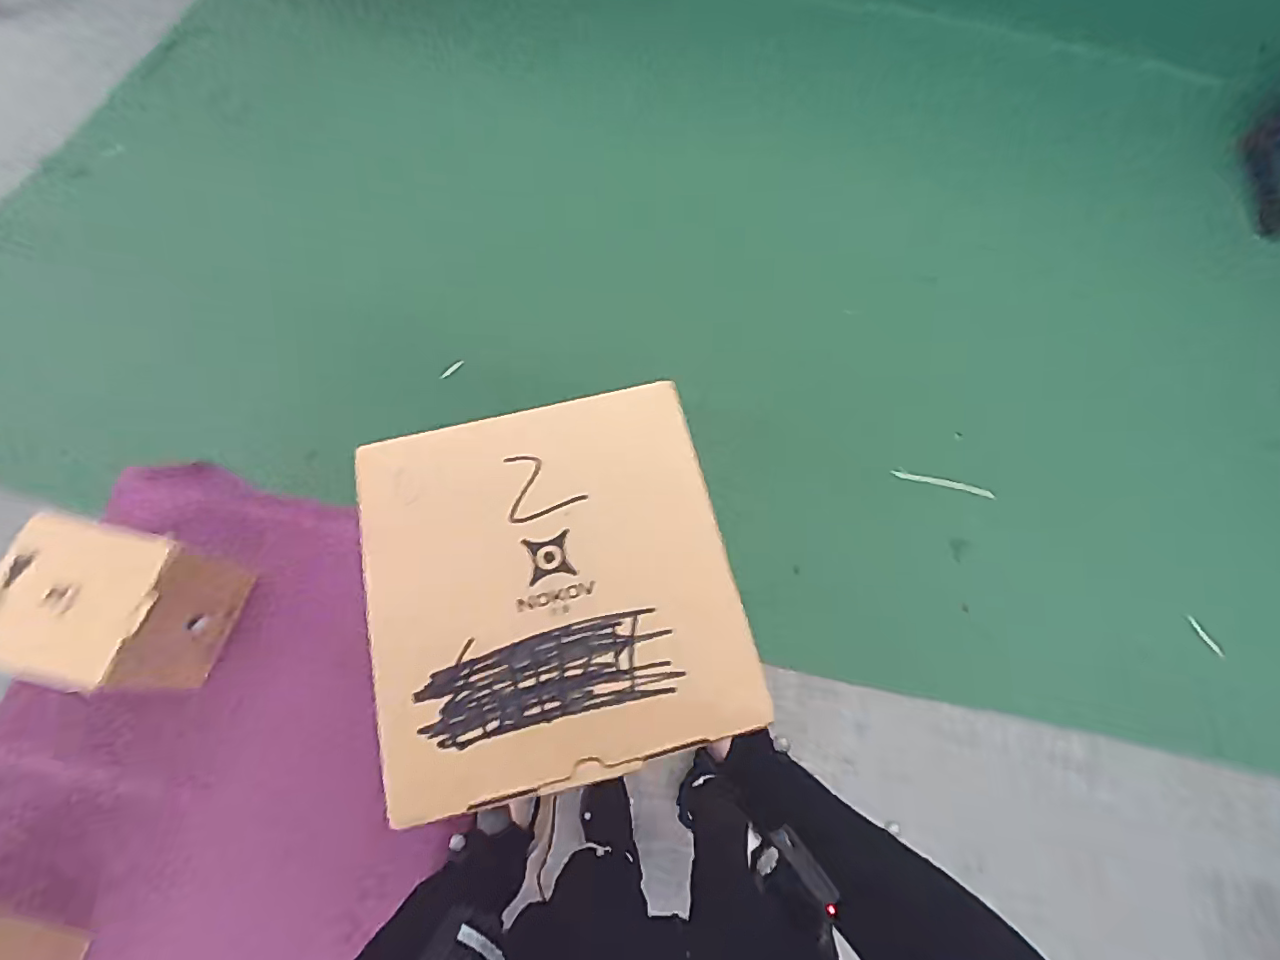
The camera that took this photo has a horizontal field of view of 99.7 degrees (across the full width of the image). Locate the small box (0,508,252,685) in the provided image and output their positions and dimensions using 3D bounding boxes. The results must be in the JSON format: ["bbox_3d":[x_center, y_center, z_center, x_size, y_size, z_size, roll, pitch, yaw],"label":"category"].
[{"bbox_3d":[-0.649,0.154,0.685,0.179,0.176,0.168,14,69,0],"label":"small box"}]
